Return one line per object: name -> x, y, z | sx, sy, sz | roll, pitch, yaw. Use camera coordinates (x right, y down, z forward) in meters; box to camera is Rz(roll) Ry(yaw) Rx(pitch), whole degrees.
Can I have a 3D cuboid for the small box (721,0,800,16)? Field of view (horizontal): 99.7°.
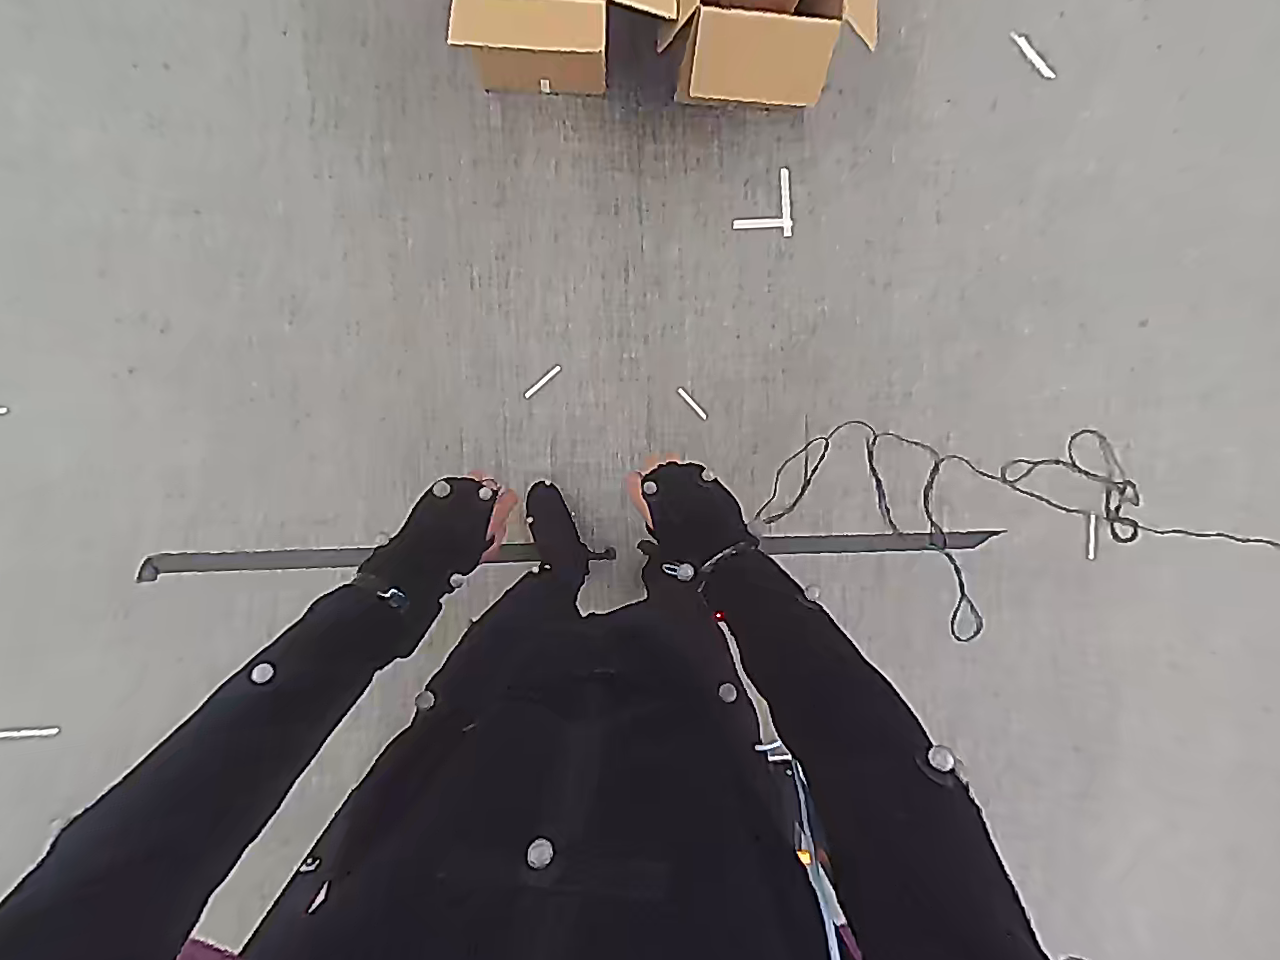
small box -> 0.276, -1.121, 1.129 | 0.179, 0.176, 0.168 | 1, 96, -5
